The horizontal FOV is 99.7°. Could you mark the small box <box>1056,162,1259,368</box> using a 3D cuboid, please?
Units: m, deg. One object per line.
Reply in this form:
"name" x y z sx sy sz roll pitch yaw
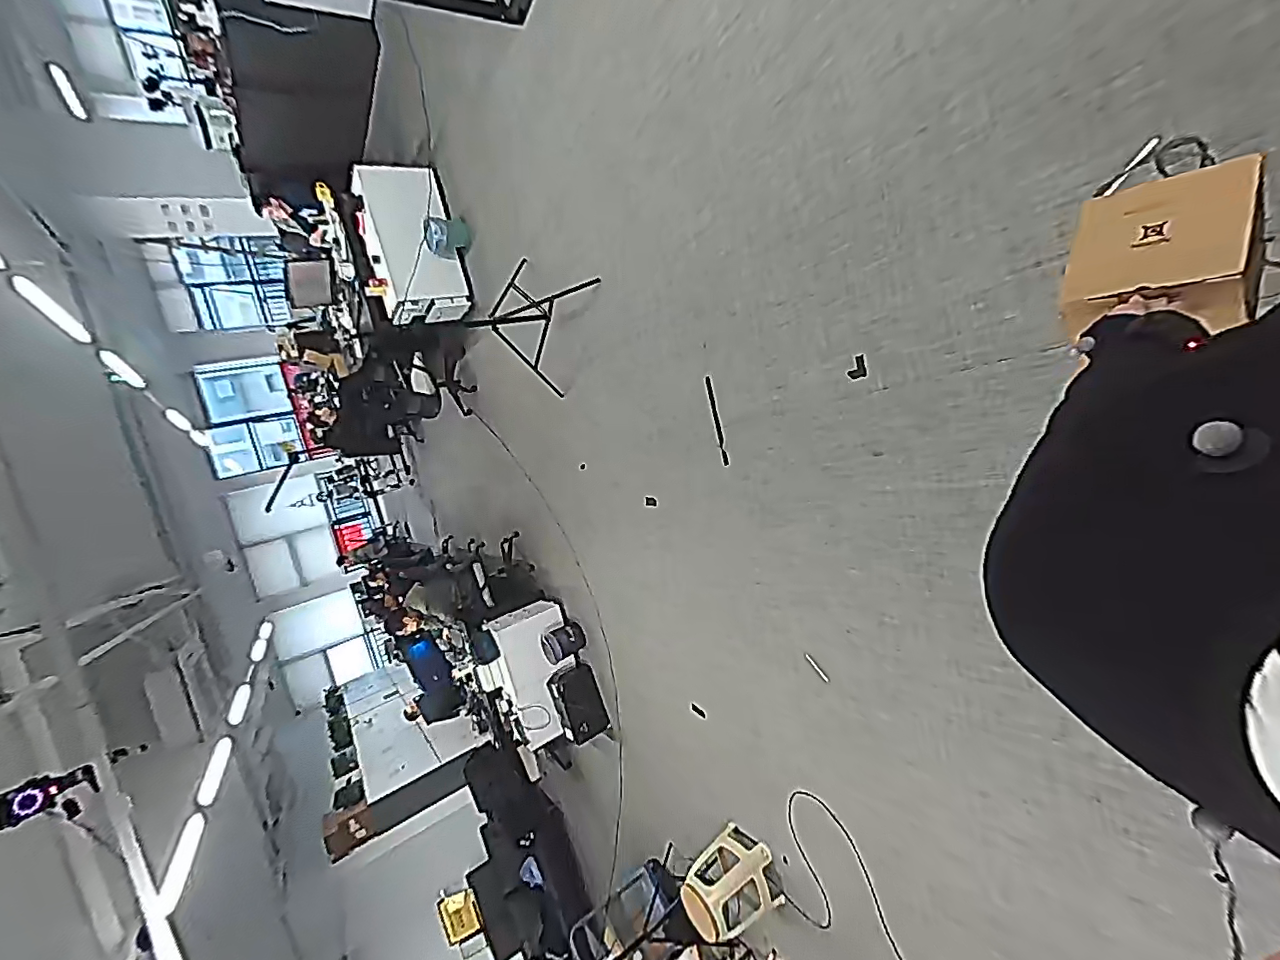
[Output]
"small box" 0.689 -0.264 0.718 0.168 0.176 0.179 6 67 51
